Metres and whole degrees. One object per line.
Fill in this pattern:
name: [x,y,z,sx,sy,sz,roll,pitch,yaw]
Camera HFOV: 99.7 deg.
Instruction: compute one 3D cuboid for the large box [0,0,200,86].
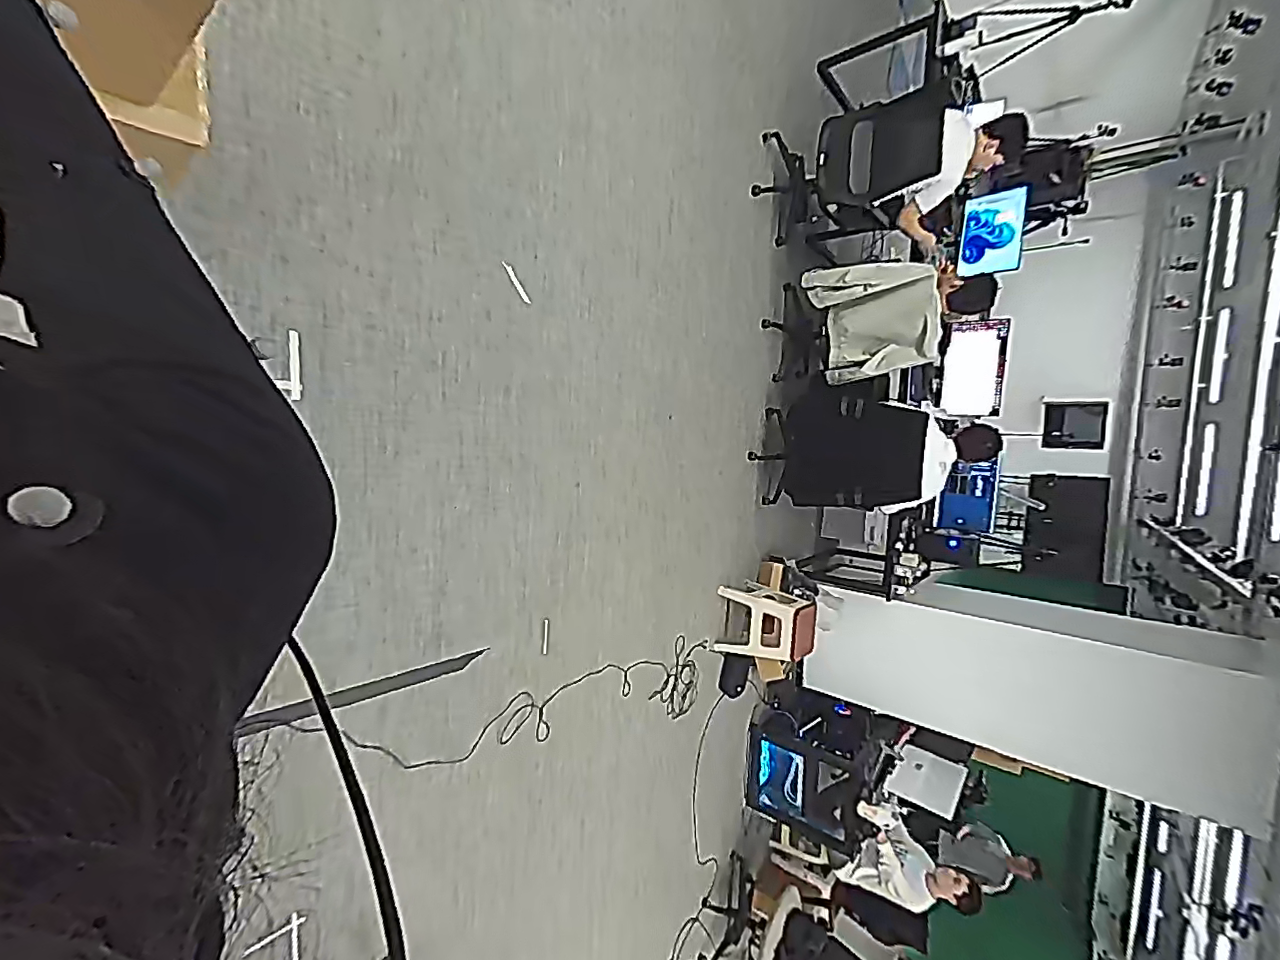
large box: [-0.632,-0.620,0.426,0.408,0.320,0.320,-5,99,-53]
